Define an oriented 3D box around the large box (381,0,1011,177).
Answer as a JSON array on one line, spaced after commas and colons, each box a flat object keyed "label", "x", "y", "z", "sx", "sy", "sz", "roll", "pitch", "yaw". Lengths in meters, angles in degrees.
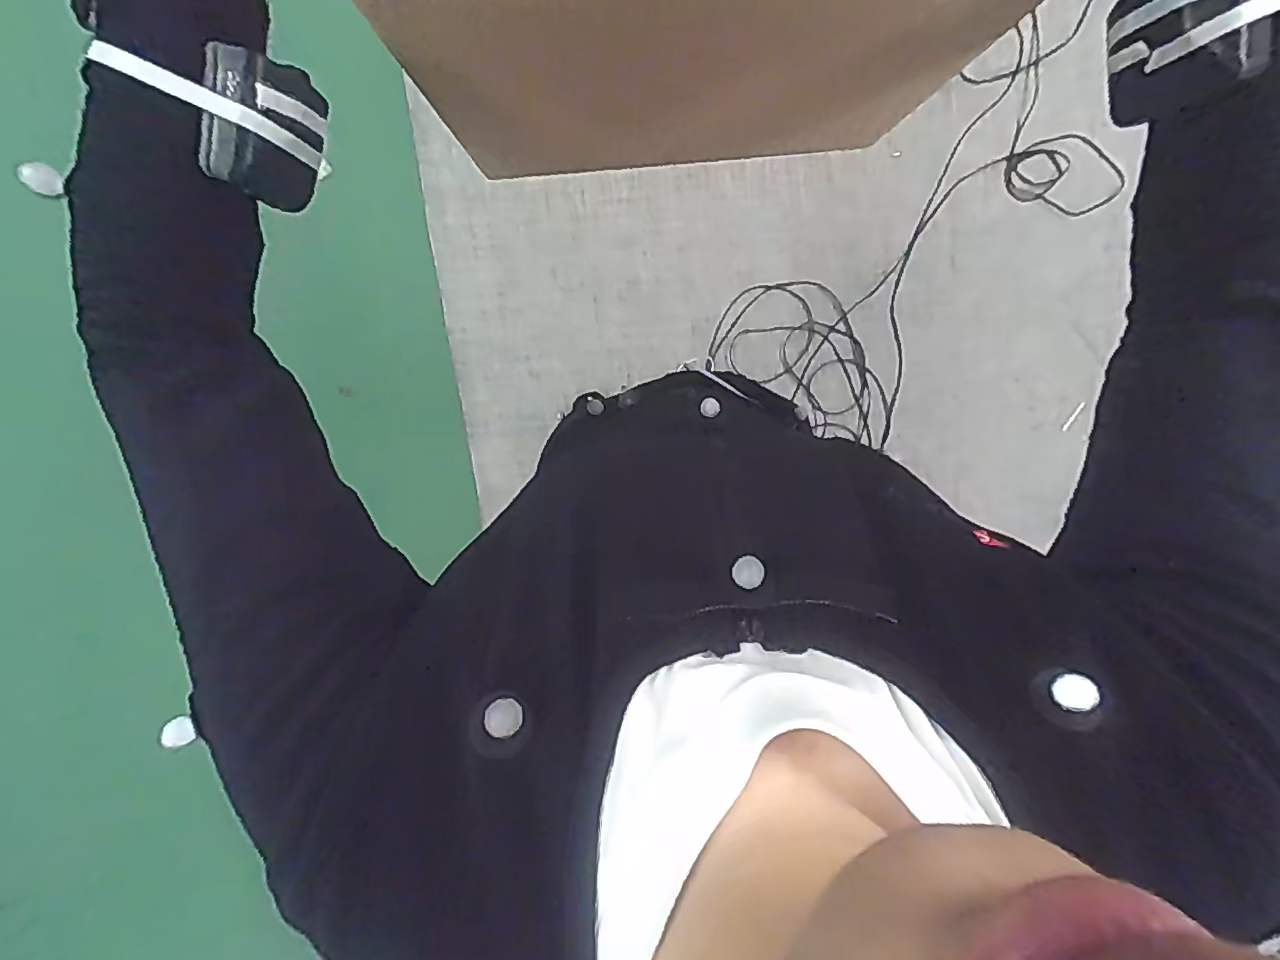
[{"label": "large box", "x": 0.030, "y": -0.449, "z": 0.385, "sx": 0.408, "sy": 0.320, "sz": 0.320, "roll": -6, "pitch": 103, "yaw": -2}]
